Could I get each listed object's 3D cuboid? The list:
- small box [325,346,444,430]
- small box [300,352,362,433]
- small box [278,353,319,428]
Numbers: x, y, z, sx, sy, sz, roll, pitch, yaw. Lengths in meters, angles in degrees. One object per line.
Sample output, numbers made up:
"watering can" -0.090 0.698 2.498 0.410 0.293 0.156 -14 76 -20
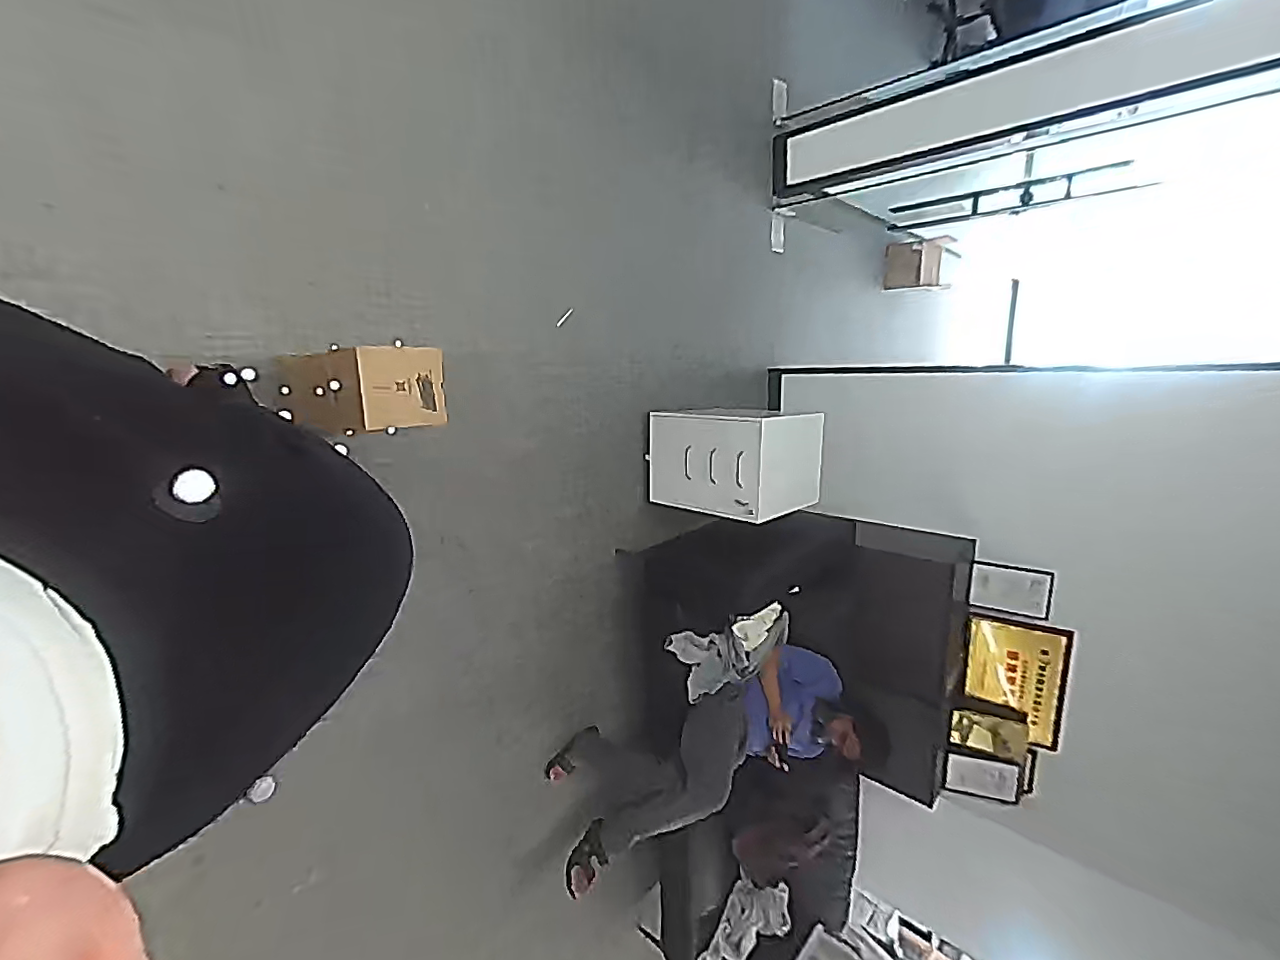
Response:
"small box" -0.548 -0.201 1.165 0.179 0.176 0.168 -13 106 -46
"small box" -0.676 -0.212 1.271 0.168 0.176 0.179 -16 111 -46
"small box" -0.796 -0.233 1.377 0.168 0.176 0.179 -14 108 -47
